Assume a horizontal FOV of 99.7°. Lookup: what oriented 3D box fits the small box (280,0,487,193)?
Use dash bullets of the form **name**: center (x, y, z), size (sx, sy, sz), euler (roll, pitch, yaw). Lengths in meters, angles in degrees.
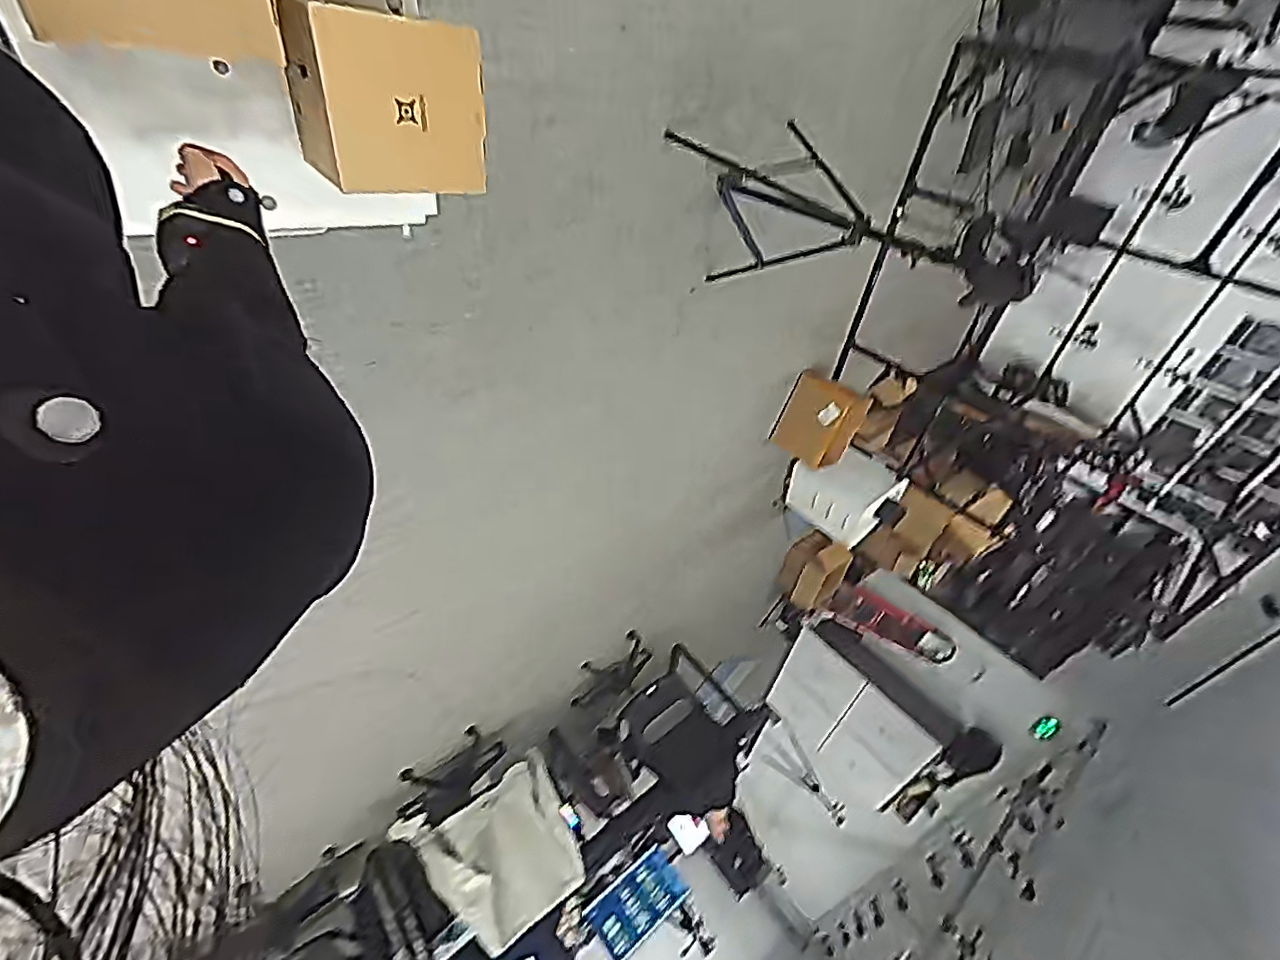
- **small box**: center (-0.304, -0.453, 0.647), size (0.179, 0.176, 0.168), euler (-22, 138, -34)
